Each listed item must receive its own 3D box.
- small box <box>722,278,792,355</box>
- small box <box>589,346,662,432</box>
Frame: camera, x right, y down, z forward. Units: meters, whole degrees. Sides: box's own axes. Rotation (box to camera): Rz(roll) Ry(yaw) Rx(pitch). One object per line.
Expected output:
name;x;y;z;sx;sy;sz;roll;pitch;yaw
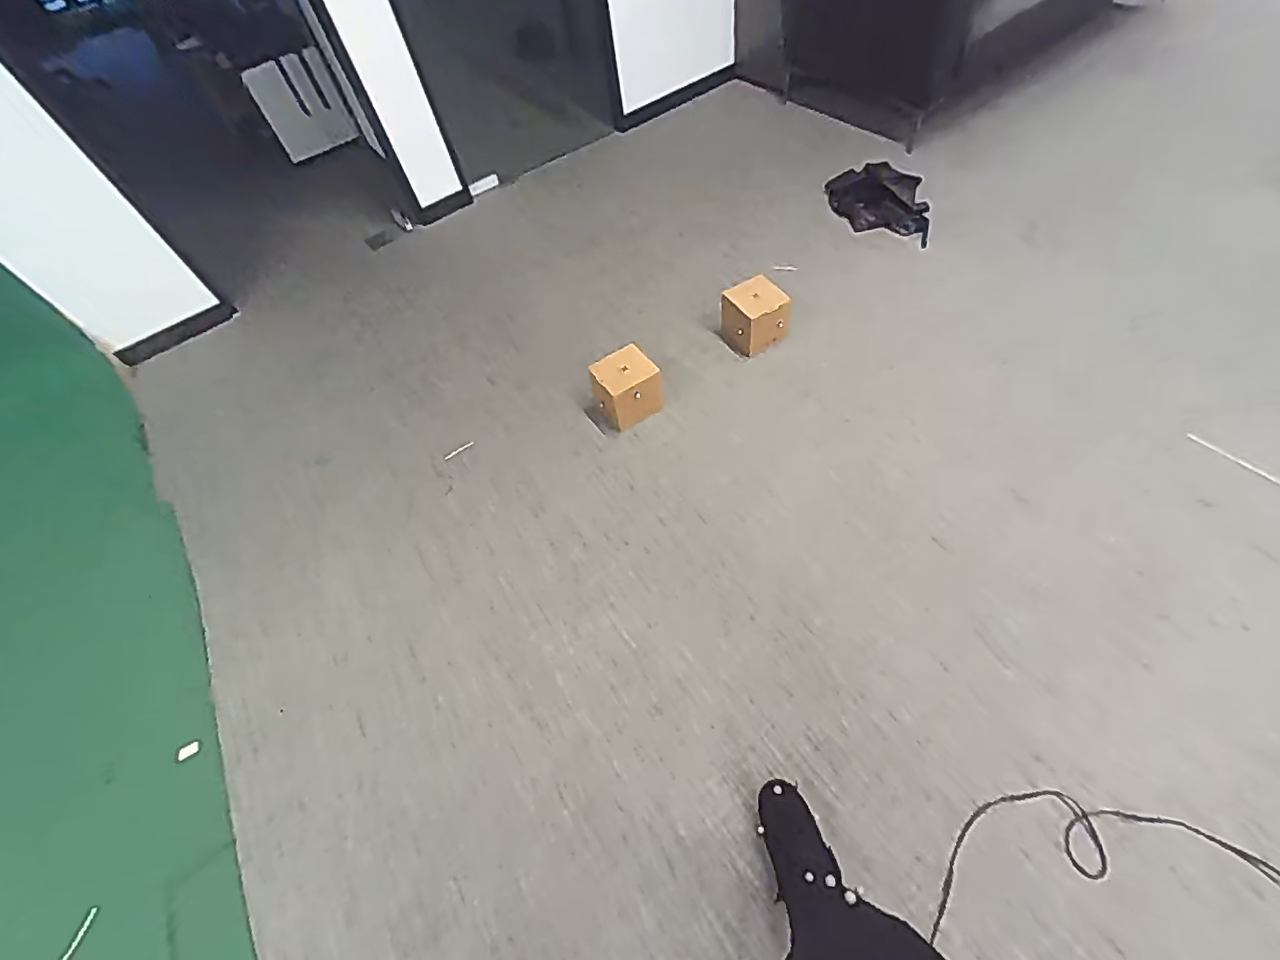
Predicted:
small box;0.398;-0.555;1.862;0.168;0.176;0.179;-27;55;-12
small box;-0.039;-0.291;1.747;0.179;0.176;0.168;-32;57;-13
